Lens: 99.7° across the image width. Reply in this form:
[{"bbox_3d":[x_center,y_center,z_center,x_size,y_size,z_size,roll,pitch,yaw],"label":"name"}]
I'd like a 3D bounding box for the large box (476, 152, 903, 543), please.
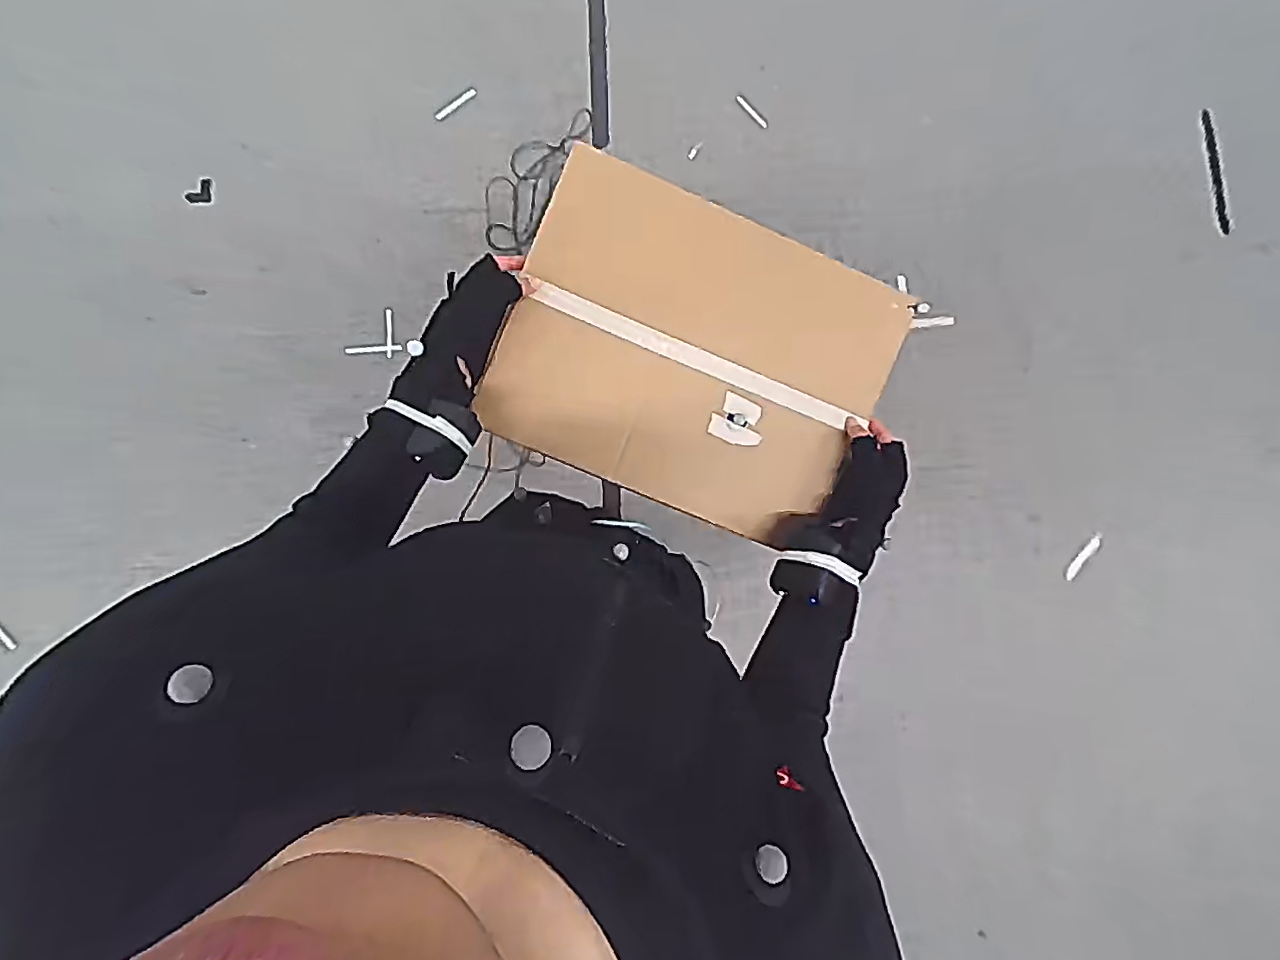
[{"bbox_3d":[0.046,-0.146,0.741,0.408,0.320,0.320,23,92,-6],"label":"large box"}]
